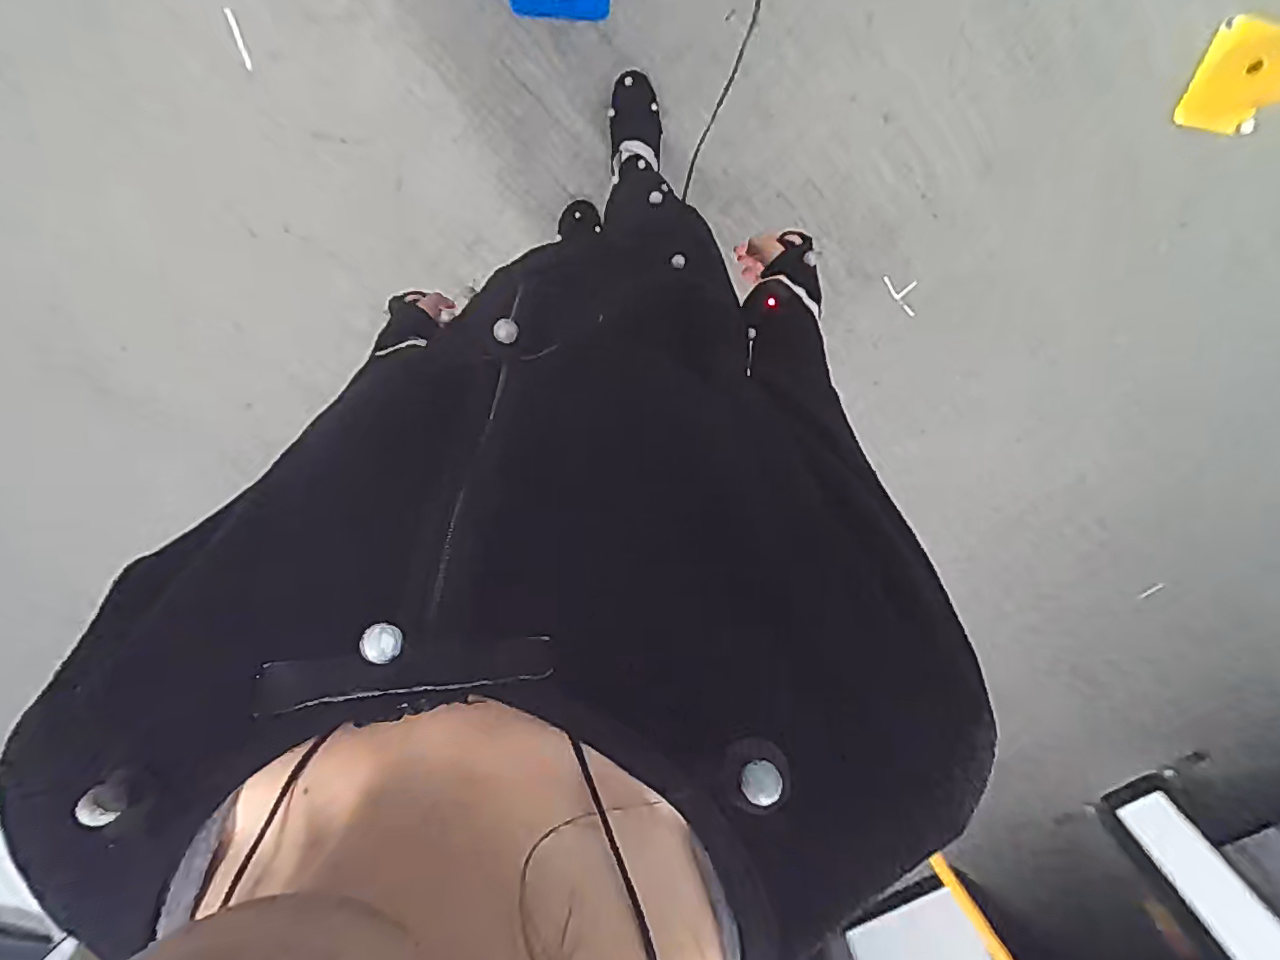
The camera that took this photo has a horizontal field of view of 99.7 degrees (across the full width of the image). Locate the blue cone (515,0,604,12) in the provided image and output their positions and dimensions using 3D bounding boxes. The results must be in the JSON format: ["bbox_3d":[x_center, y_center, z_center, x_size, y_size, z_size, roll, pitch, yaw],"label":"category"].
[{"bbox_3d":[-0.146,-0.899,0.860,0.193,0.380,0.192,-1,123,-2],"label":"blue cone"}]
